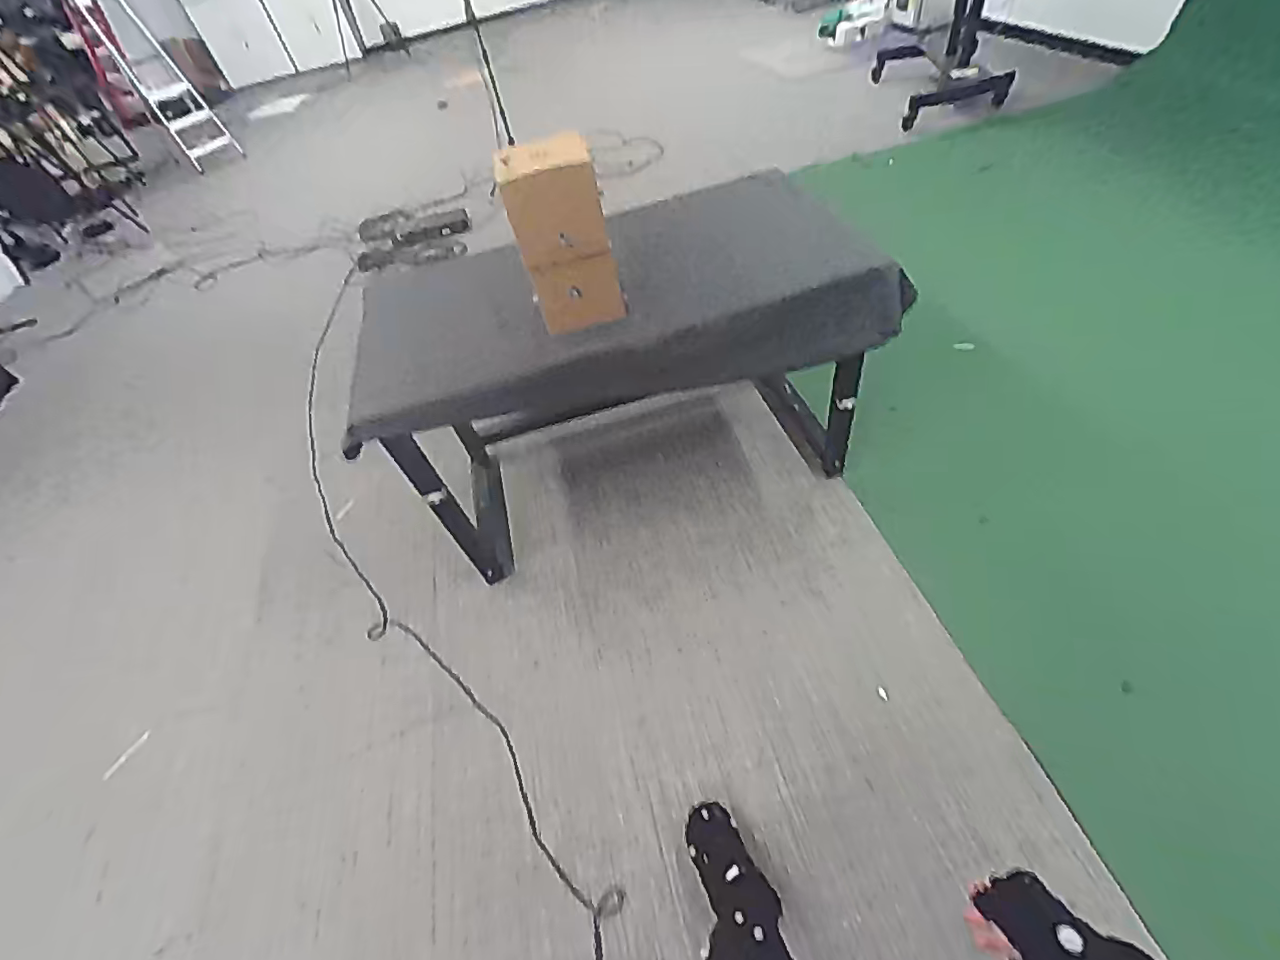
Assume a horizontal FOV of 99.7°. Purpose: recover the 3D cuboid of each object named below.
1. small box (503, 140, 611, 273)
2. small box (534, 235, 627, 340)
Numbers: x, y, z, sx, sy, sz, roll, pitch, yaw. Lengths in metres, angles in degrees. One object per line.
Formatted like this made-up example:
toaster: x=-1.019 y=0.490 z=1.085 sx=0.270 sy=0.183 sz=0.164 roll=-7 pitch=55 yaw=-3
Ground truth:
small box: x=-0.159 y=-0.537 z=1.069 sx=0.179 sy=0.176 sz=0.168 roll=-14 pitch=48 yaw=-2
small box: x=-0.132 y=-0.439 z=1.196 sx=0.179 sy=0.176 sz=0.168 roll=-16 pitch=48 yaw=-1
